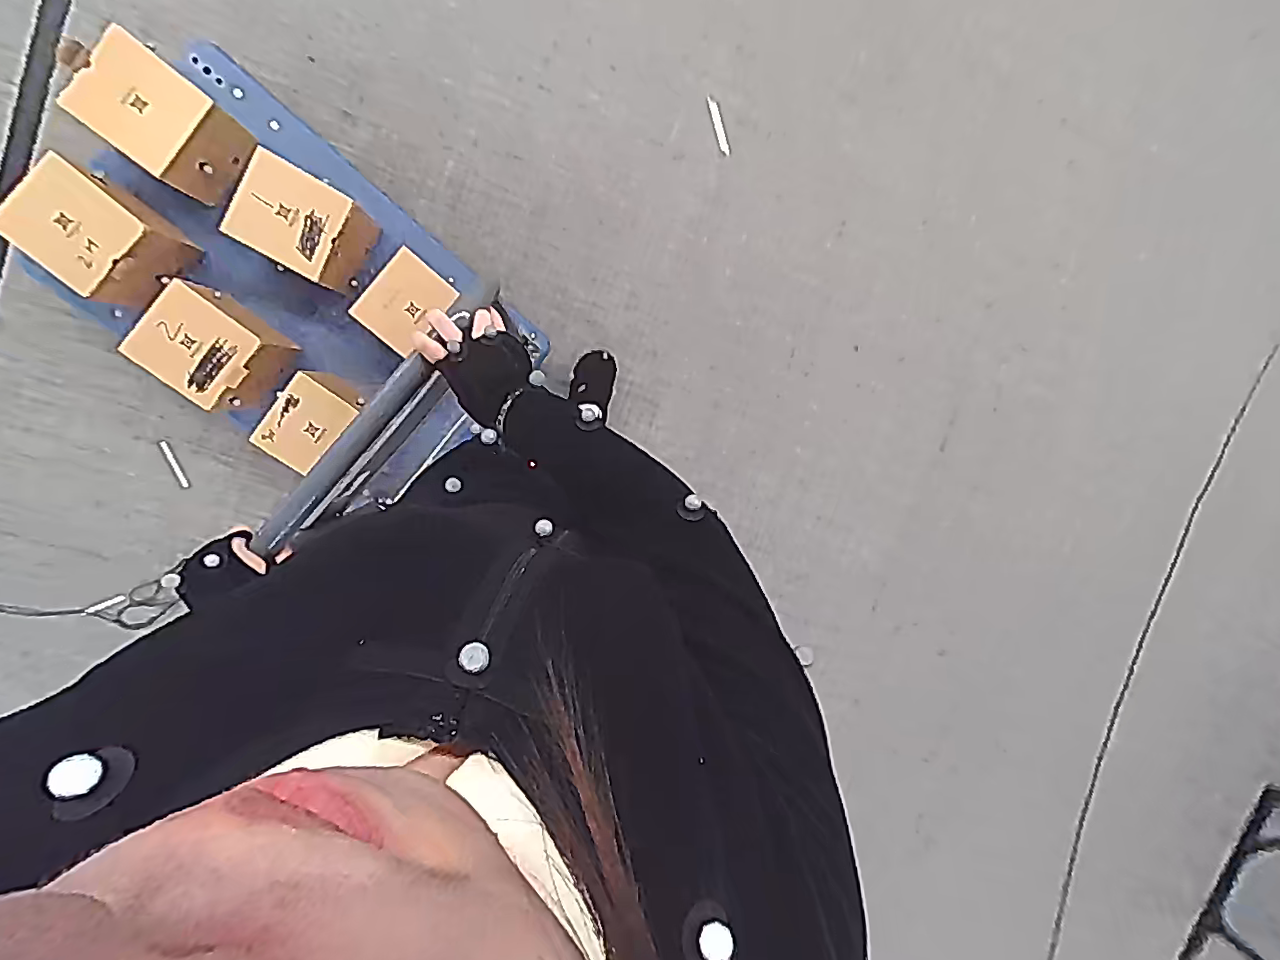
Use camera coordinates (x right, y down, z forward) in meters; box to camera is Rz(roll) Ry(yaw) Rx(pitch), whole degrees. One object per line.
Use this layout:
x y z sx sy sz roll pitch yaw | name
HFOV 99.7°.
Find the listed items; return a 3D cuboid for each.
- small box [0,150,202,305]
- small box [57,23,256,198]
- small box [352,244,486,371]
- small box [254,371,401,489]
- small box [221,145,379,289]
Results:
-0.972 -0.443 0.987 0.179 0.176 0.168 42 91 -15 | small box
-0.852 -0.645 0.977 0.179 0.176 0.168 37 92 -14 | small box
-0.436 -0.340 1.103 0.179 0.176 0.168 40 90 -13 | small box
-0.623 -0.108 1.107 0.179 0.176 0.168 36 91 -14 | small box
-0.637 -0.489 1.041 0.179 0.176 0.168 27 94 -12 | small box
